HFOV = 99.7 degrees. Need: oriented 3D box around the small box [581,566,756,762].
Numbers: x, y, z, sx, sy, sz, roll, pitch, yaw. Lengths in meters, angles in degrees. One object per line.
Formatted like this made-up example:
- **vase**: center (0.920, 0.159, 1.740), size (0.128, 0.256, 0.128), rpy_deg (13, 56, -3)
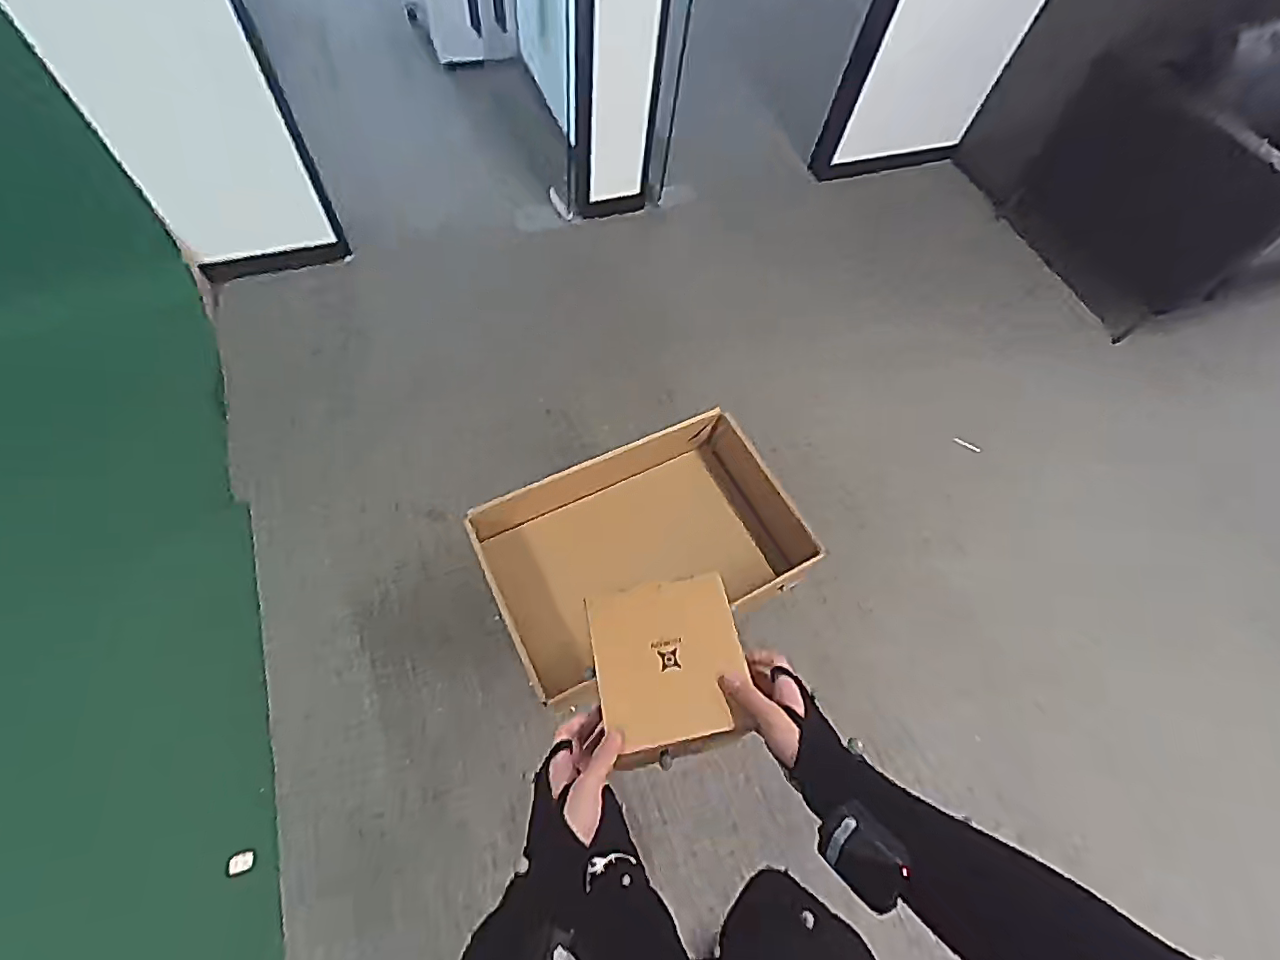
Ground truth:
- **small box**: center (0.027, 0.229, 0.653), size (0.168, 0.176, 0.179), rpy_deg (-9, 56, -6)
